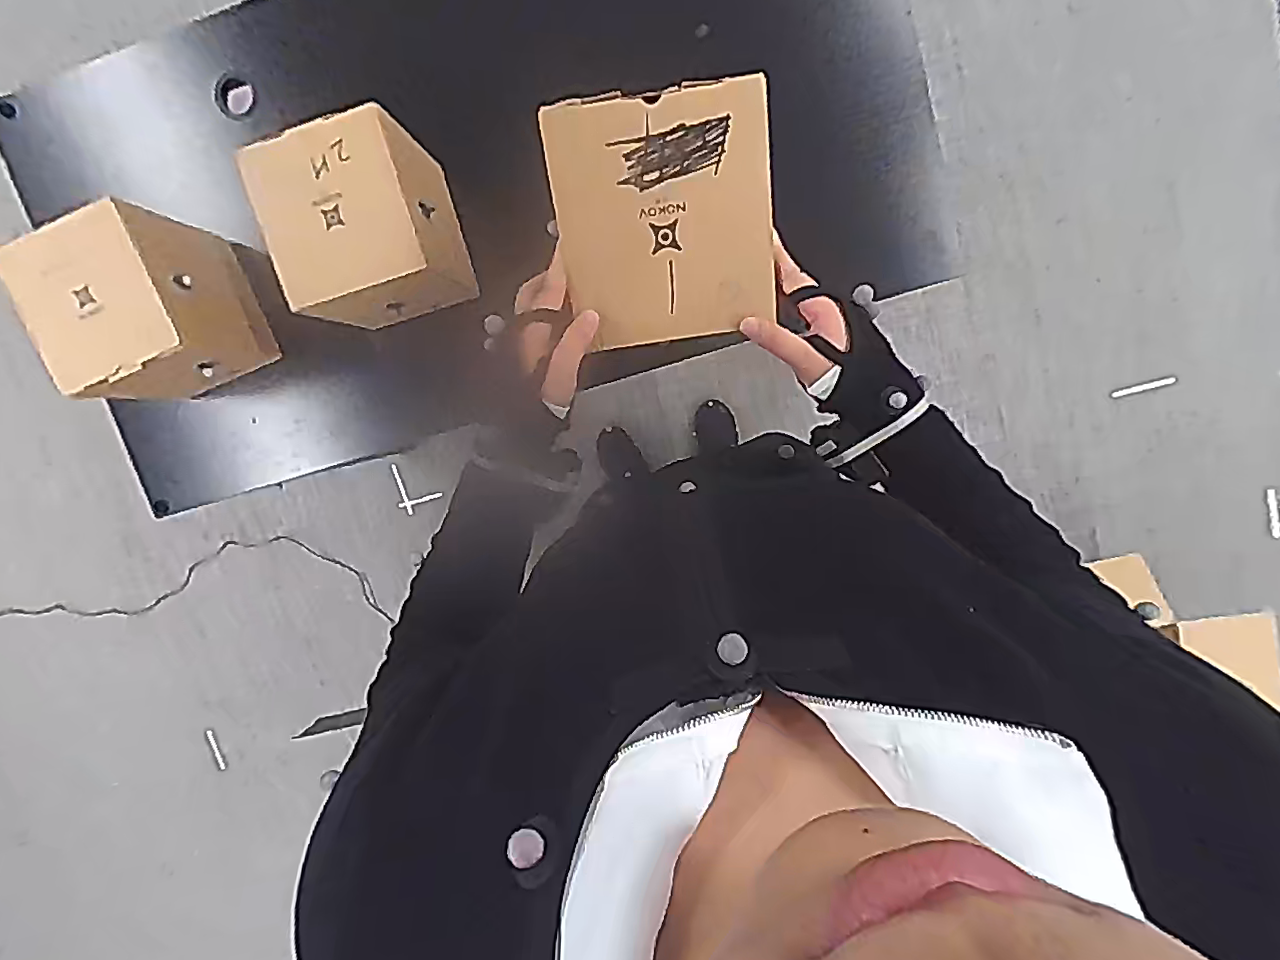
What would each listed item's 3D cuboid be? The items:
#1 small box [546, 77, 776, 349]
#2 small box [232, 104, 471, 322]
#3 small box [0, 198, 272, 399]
[{"bbox_3d":[0.018,-0.225,0.489,0.168,0.176,0.179,-7,111,1],"label":"small box"},{"bbox_3d":[-0.328,-0.300,0.655,0.168,0.176,0.179,-15,98,5],"label":"small box"},{"bbox_3d":[-0.622,-0.214,0.687,0.168,0.176,0.179,-21,96,5],"label":"small box"}]
